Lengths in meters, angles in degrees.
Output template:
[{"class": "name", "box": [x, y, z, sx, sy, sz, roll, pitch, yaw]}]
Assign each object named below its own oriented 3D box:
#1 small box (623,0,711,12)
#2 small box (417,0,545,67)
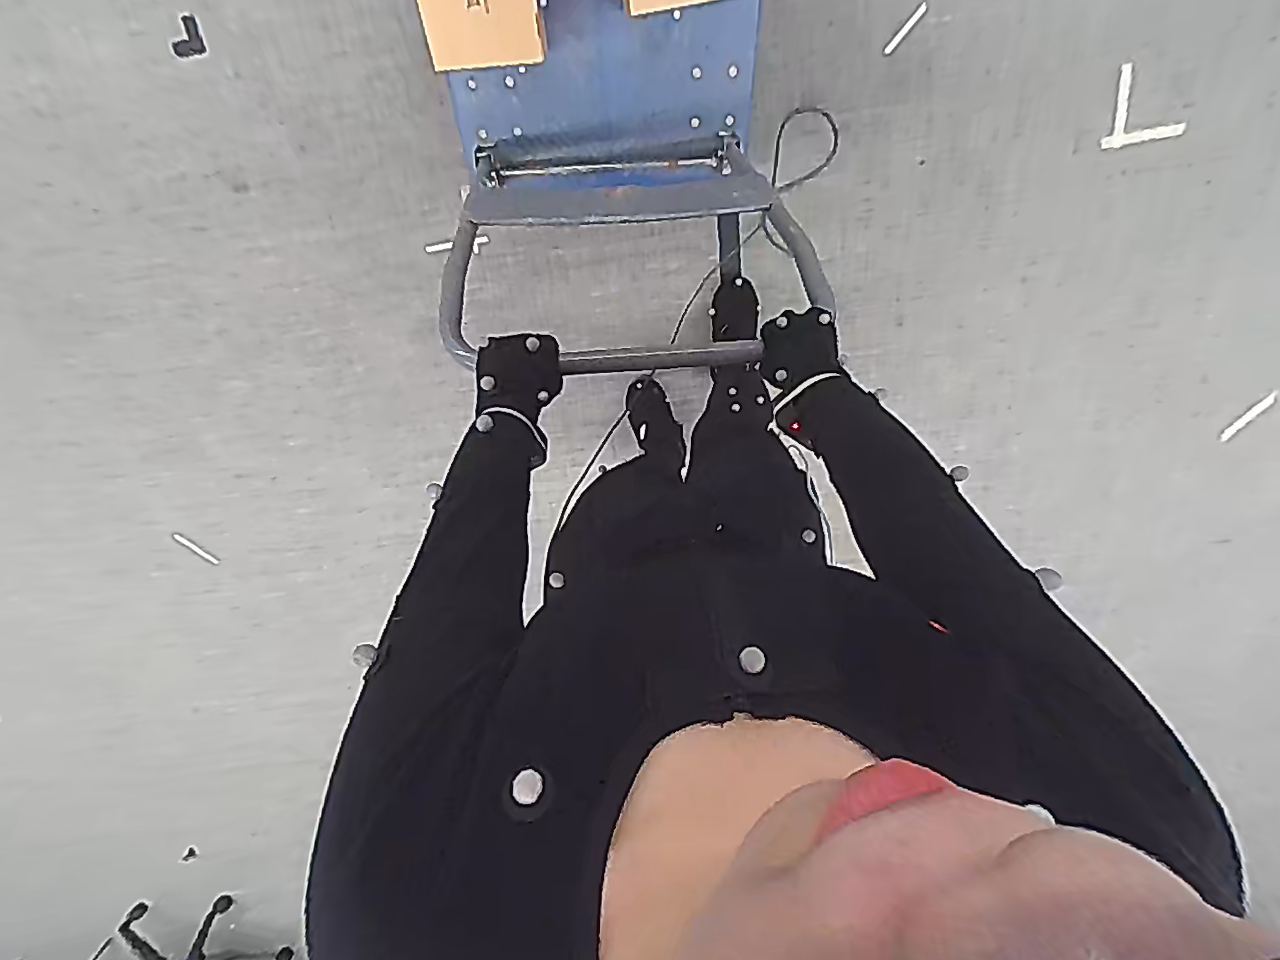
[{"class": "small box", "box": [0.052, -0.841, 0.832, 0.179, 0.176, 0.168, -9, 133, 2]}, {"class": "small box", "box": [-0.252, -0.773, 0.861, 0.179, 0.176, 0.168, -7, 133, -2]}]
